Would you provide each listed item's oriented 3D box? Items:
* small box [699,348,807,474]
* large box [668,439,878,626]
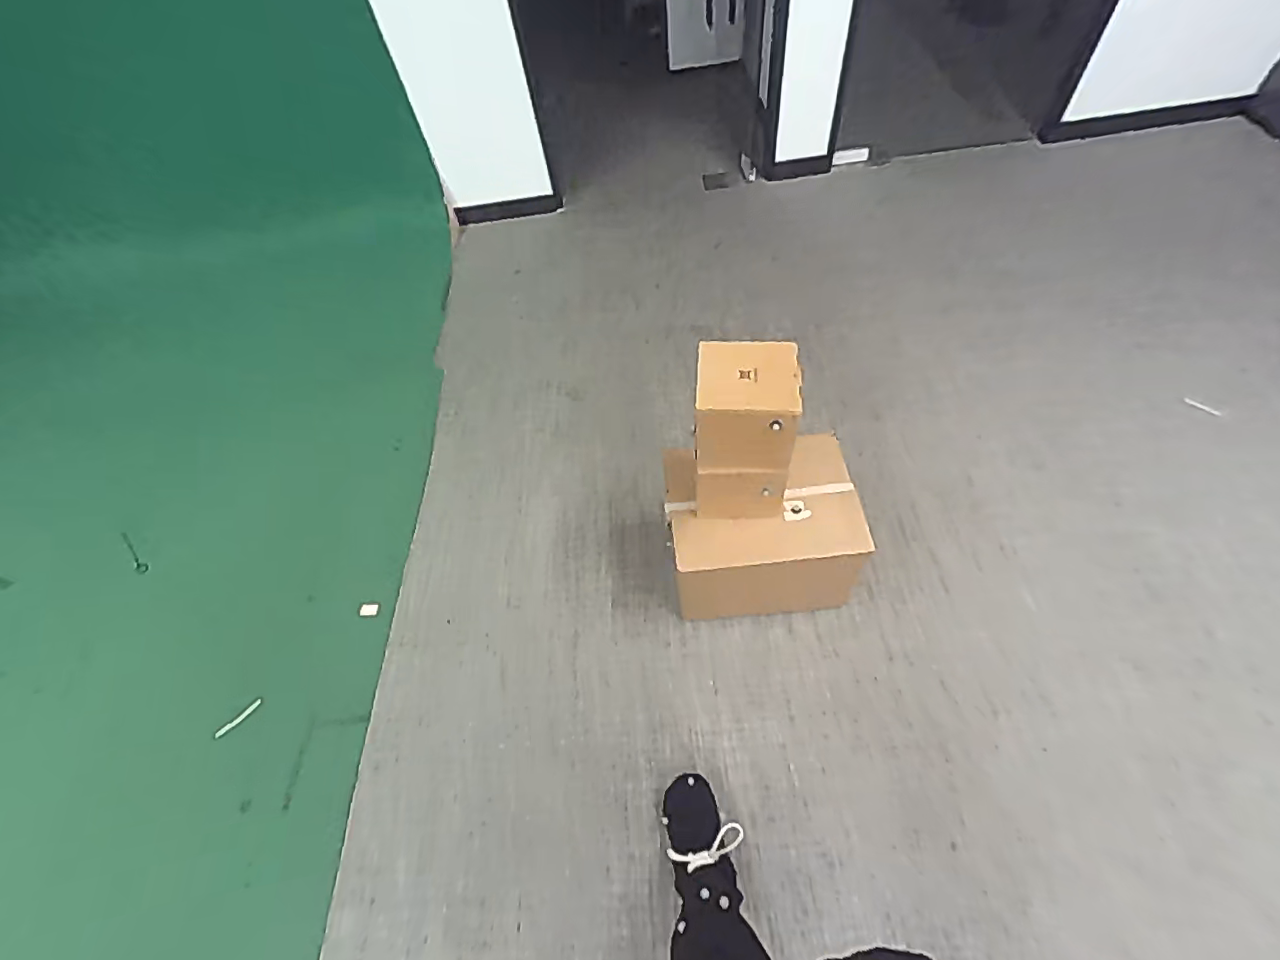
[{"bbox_3d":[0.200,-0.123,0.992,0.179,0.176,0.168,2,56,7],"label":"small box"},{"bbox_3d":[0.286,0.136,1.300,0.408,0.320,0.320,-6,56,2],"label":"large box"}]
